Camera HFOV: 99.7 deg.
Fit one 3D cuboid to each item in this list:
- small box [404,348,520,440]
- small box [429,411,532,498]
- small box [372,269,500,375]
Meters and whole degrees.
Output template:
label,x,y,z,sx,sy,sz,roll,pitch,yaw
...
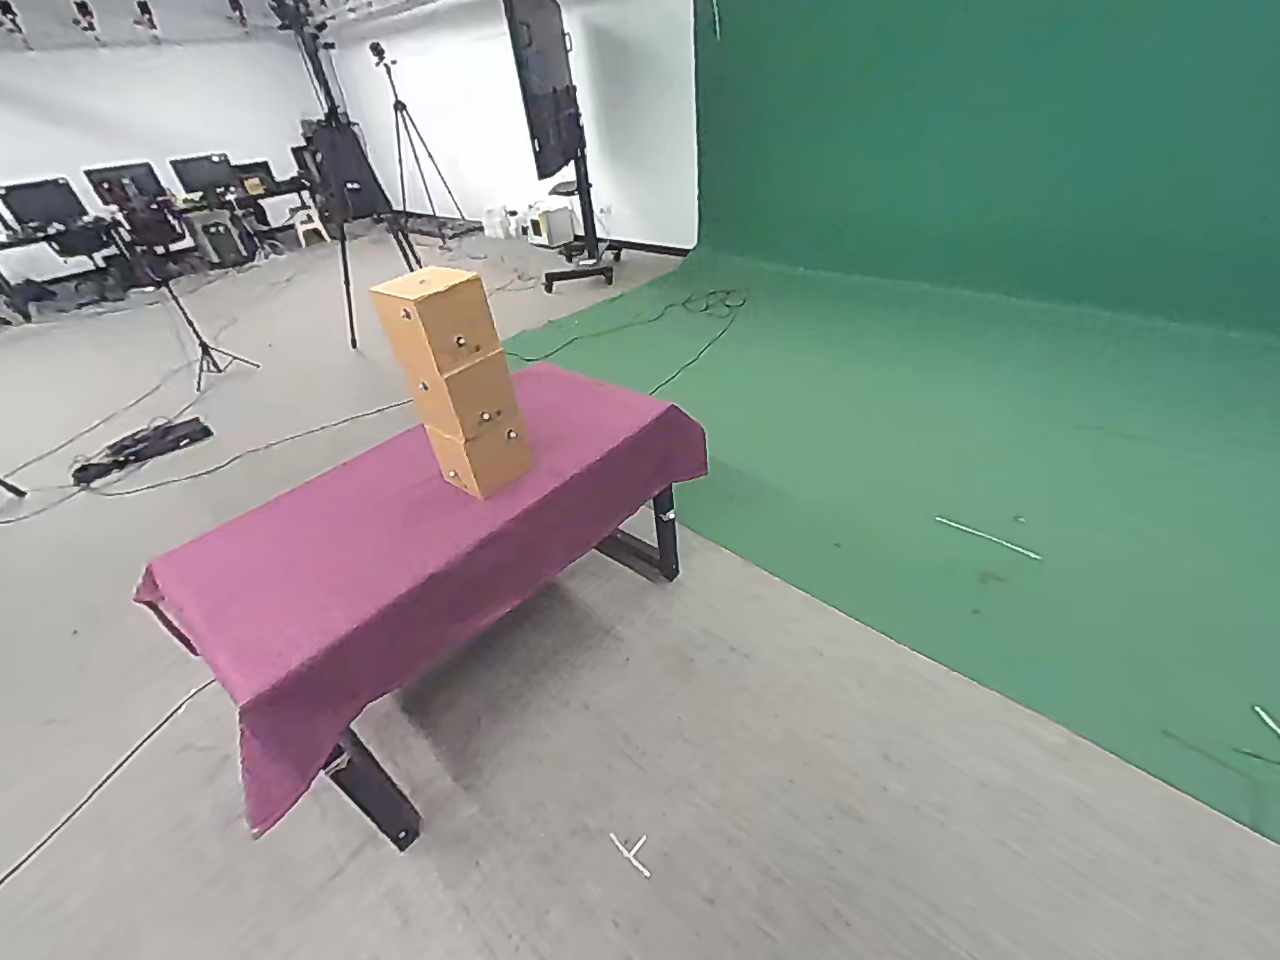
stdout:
label,x,y,z,sx,sy,sz,roll,pitch,yaw
small box,-0.412,-0.214,1.268,0.179,0.176,0.168,23,47,33
small box,-0.392,-0.085,1.365,0.168,0.176,0.179,23,47,35
small box,-0.436,-0.343,1.172,0.179,0.176,0.168,21,46,32
